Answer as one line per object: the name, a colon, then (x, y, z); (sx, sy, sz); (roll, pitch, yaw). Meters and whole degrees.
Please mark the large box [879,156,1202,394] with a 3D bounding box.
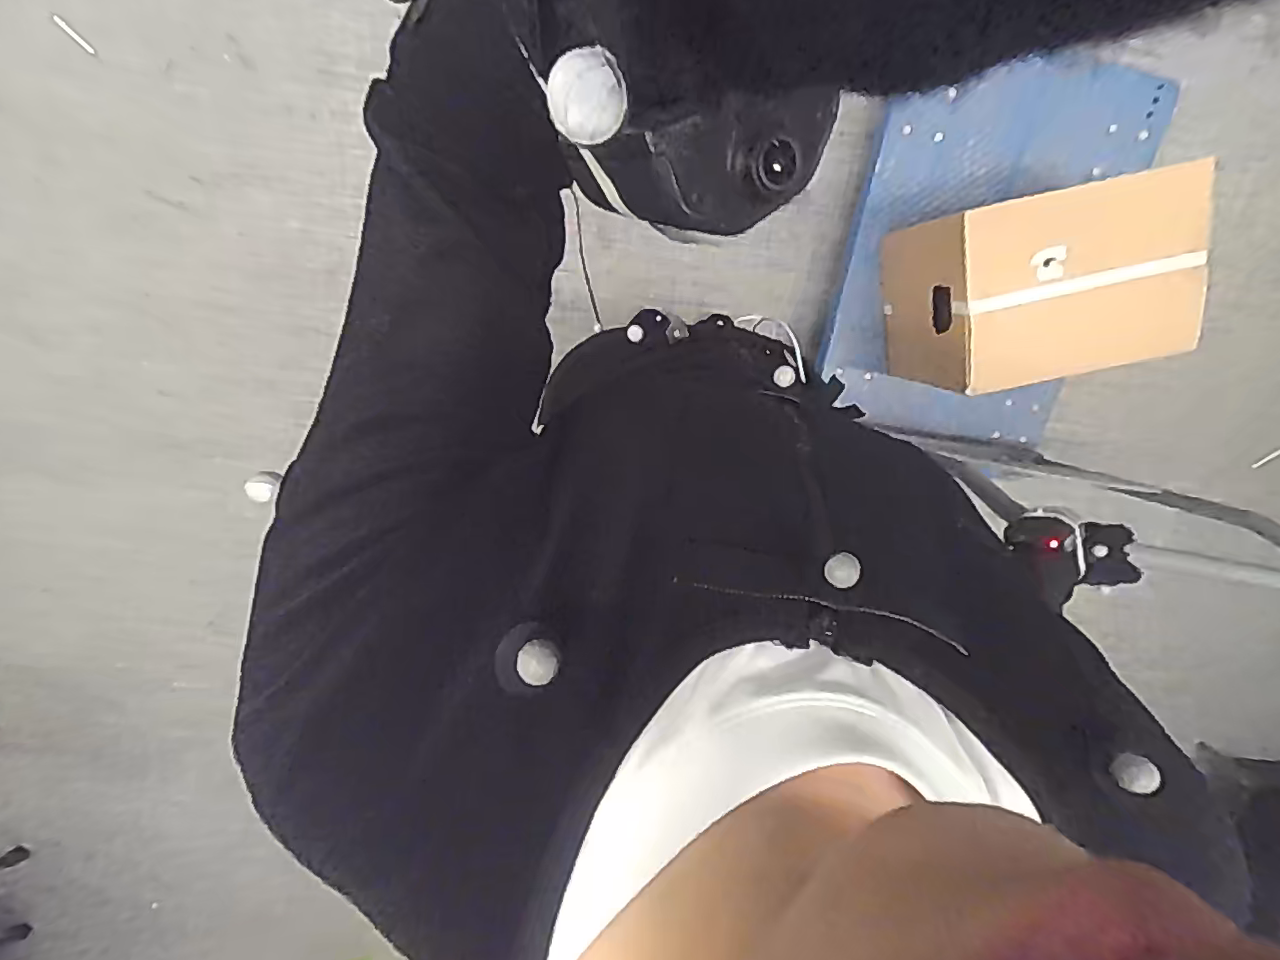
large box: (0.742, -0.386, 1.066); (0.408, 0.320, 0.320); (-12, 107, 3)
